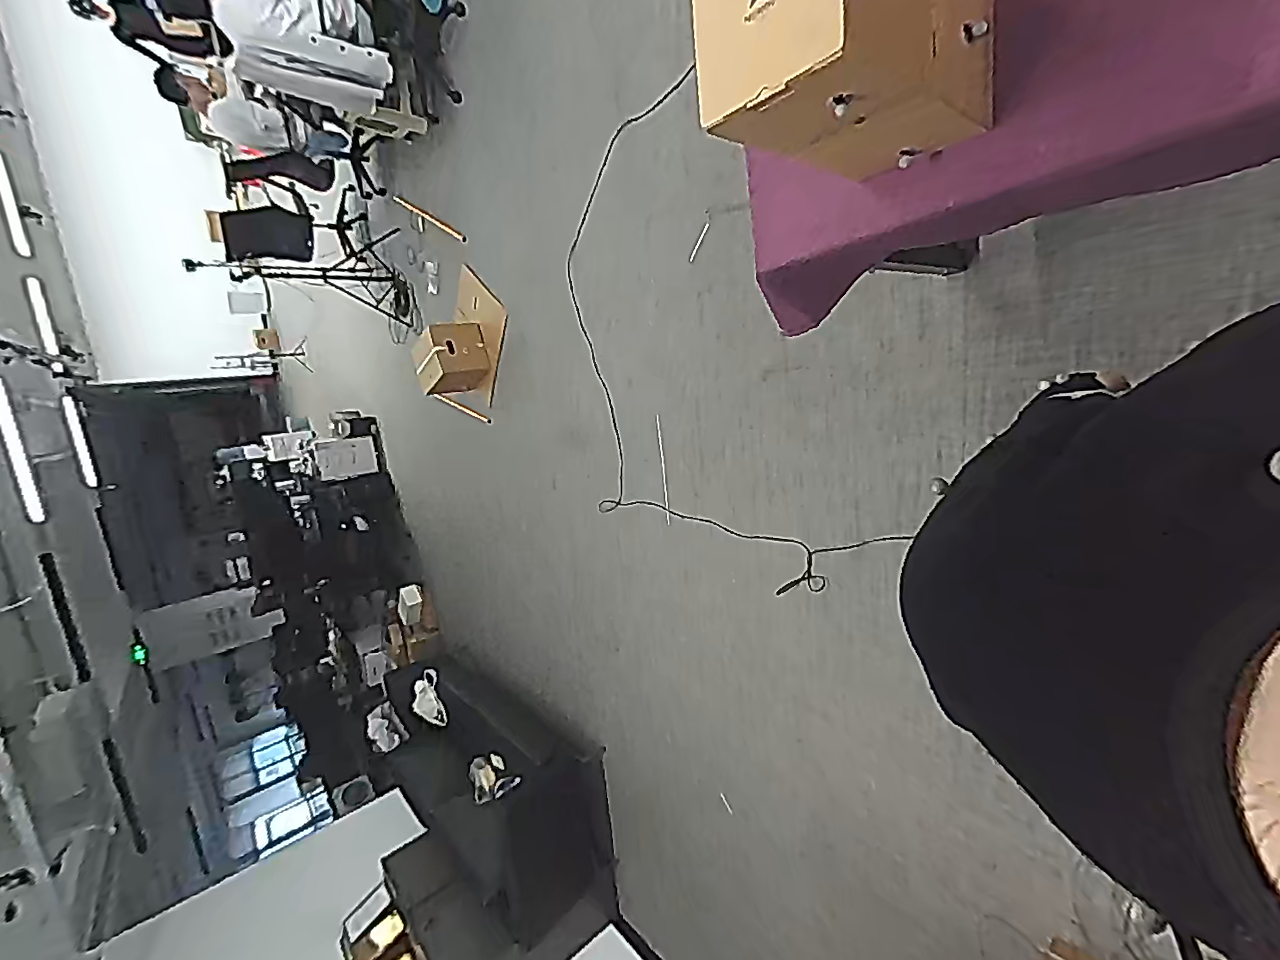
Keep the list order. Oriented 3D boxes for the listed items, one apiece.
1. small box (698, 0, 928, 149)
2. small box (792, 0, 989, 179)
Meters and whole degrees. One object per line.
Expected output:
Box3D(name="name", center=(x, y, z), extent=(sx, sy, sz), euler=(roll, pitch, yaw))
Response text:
Box3D(name="small box", center=(0.178, -0.466, 0.555), extent=(0.168, 0.176, 0.179), euler=(8, 107, 49))
Box3D(name="small box", center=(0.303, -0.492, 0.658), extent=(0.179, 0.176, 0.168), euler=(6, 105, 50))
